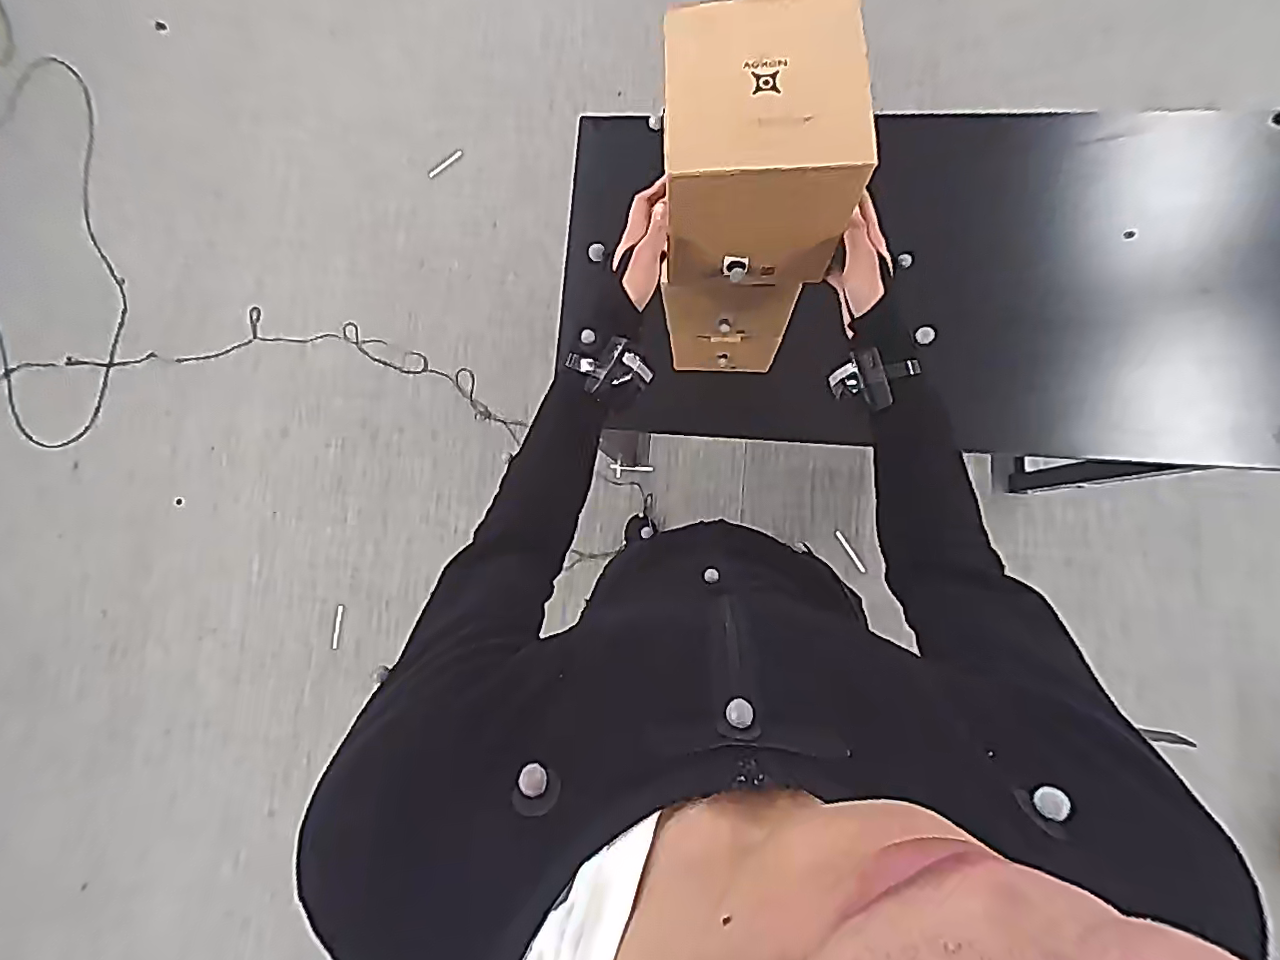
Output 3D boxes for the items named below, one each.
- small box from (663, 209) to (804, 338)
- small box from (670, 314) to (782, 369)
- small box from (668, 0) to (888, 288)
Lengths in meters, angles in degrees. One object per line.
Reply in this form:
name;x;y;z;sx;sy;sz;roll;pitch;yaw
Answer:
small box;0.122;-0.303;0.710;0.168;0.176;0.179;3;85;7
small box;0.140;-0.285;0.874;0.168;0.176;0.179;3;85;7
small box;0.110;-0.306;0.507;0.168;0.176;0.179;-2;78;4
